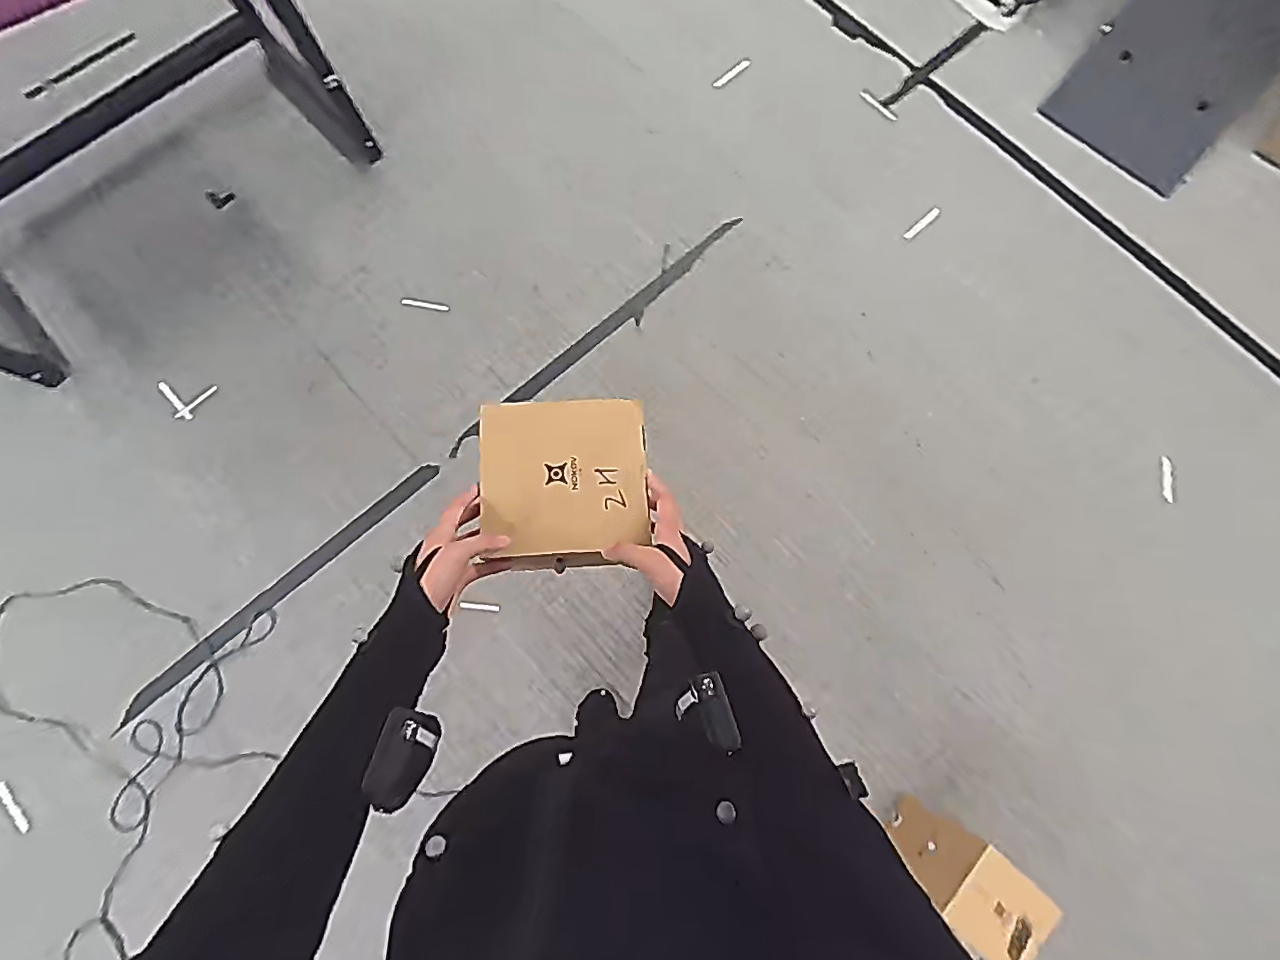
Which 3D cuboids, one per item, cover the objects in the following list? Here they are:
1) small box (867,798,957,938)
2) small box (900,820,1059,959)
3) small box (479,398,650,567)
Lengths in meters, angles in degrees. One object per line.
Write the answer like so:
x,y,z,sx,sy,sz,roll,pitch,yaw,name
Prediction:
0.673,0.886,1.258,0.179,0.176,0.168,41,80,8,small box
0.677,0.843,1.099,0.179,0.176,0.168,43,80,8,small box
-0.085,0.012,0.642,0.179,0.176,0.168,-2,77,-6,small box
